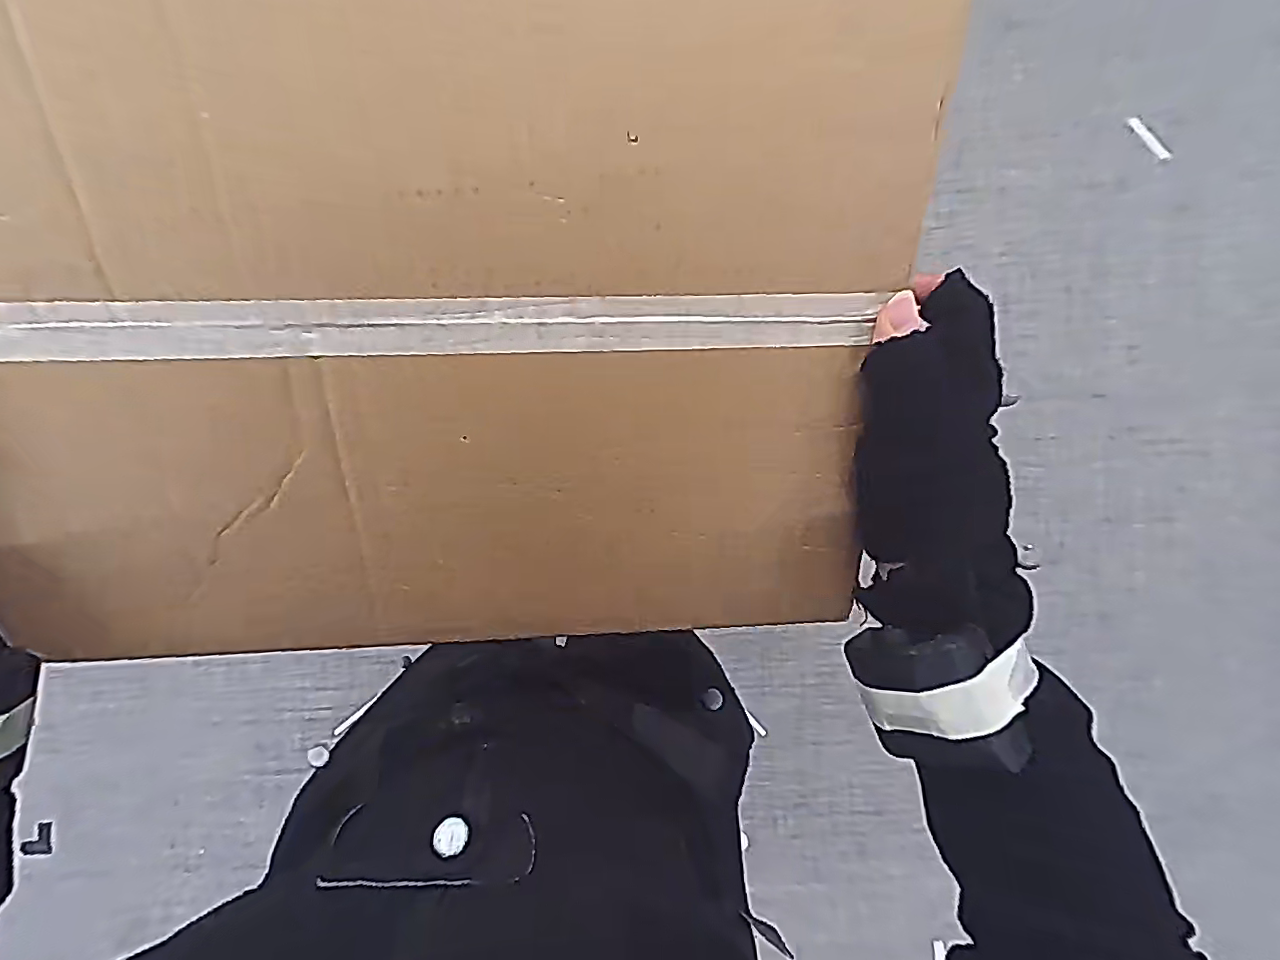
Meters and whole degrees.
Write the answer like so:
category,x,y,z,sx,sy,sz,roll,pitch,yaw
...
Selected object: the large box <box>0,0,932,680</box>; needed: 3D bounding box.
category,x,y,z,sx,sy,sz,roll,pitch,yaw
large box,-0.105,-0.107,0.360,0.408,0.320,0.320,-2,114,-4
